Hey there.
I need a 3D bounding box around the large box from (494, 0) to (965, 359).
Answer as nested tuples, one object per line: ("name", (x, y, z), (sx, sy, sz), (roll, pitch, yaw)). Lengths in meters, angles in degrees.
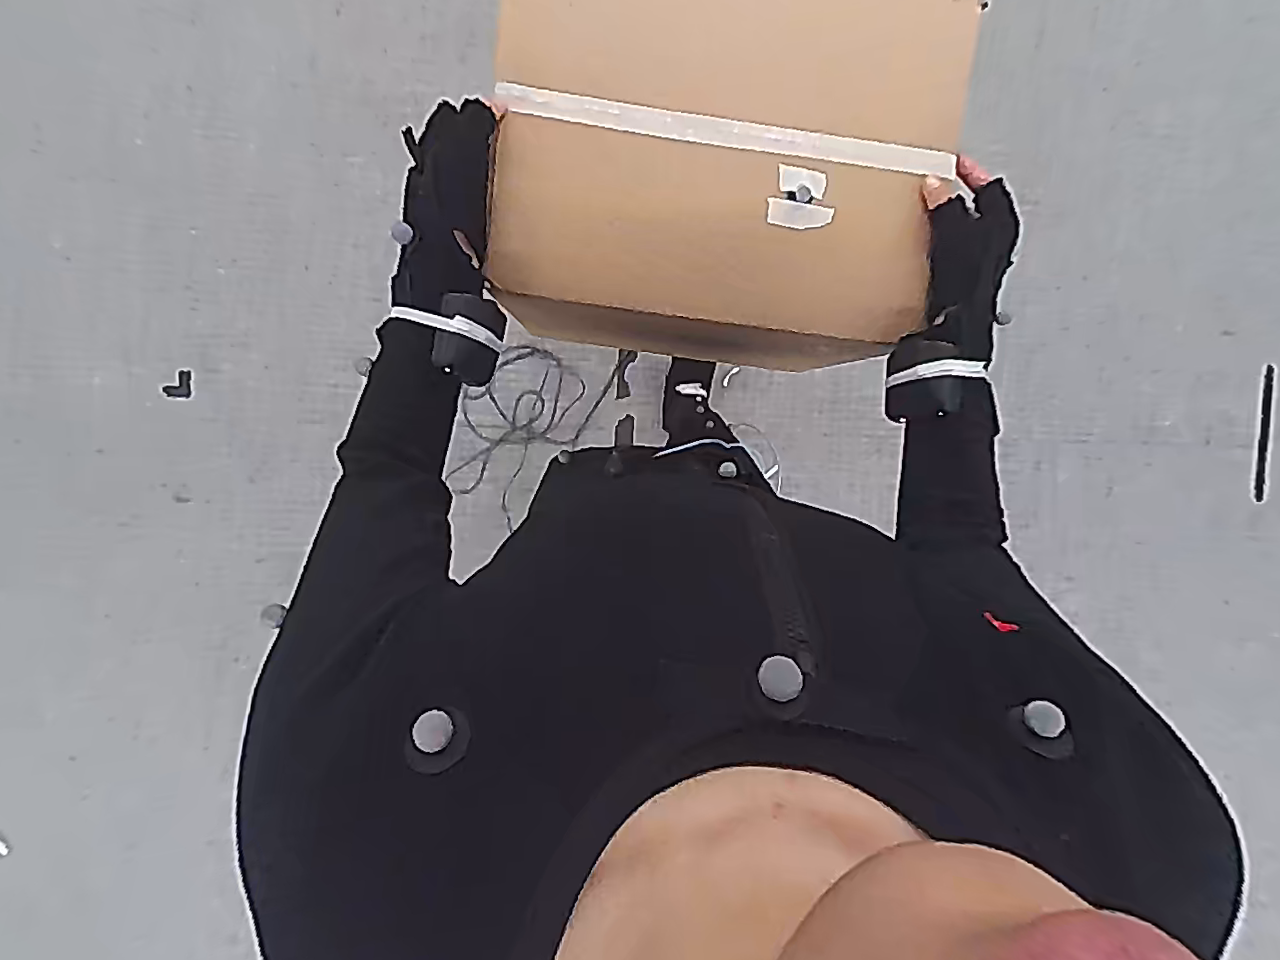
("large box", (0.067, -0.330, 0.631), (0.408, 0.320, 0.320), (6, 98, -5))
